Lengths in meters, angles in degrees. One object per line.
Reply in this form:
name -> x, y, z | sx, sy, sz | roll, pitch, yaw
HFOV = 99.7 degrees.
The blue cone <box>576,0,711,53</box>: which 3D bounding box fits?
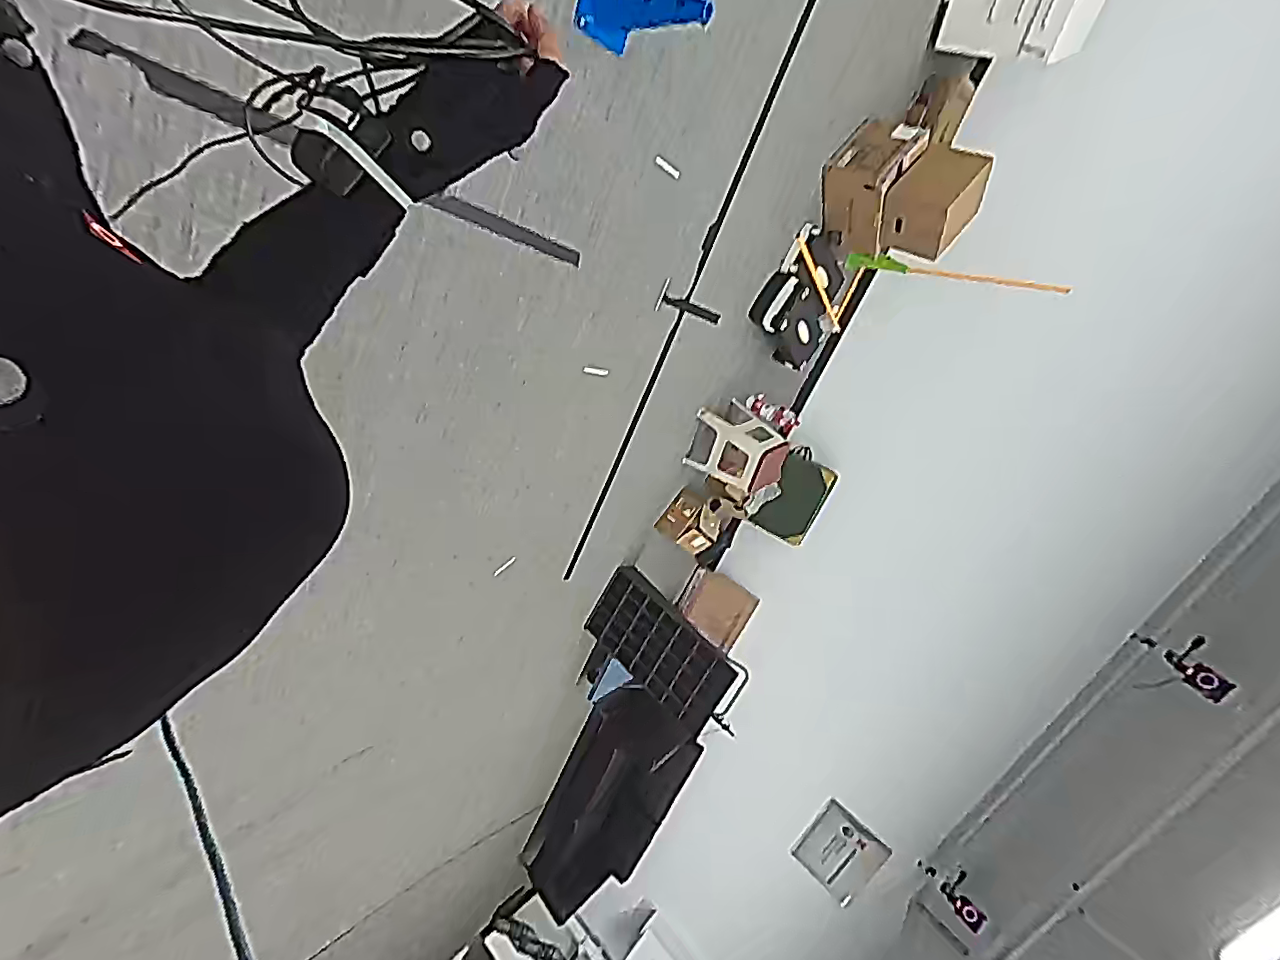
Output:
blue cone -> 0.030, -1.221, 1.396 | 0.193, 0.380, 0.192 | -12, 131, -51
